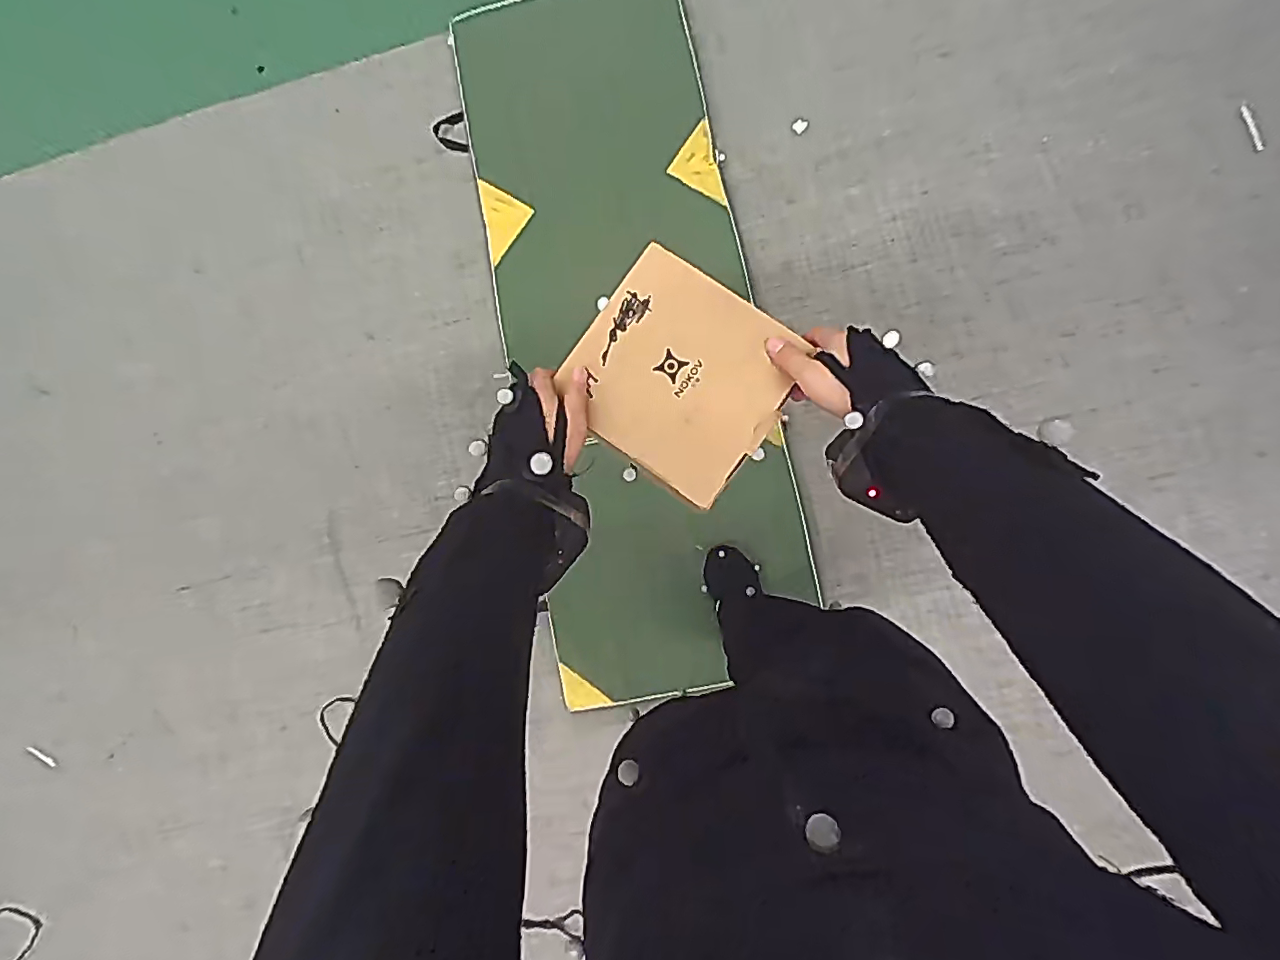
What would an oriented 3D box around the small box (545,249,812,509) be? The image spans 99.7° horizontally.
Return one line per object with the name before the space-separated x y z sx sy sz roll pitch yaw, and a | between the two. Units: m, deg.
small box | 0.038 -0.086 0.546 0.179 0.176 0.168 36 89 6
